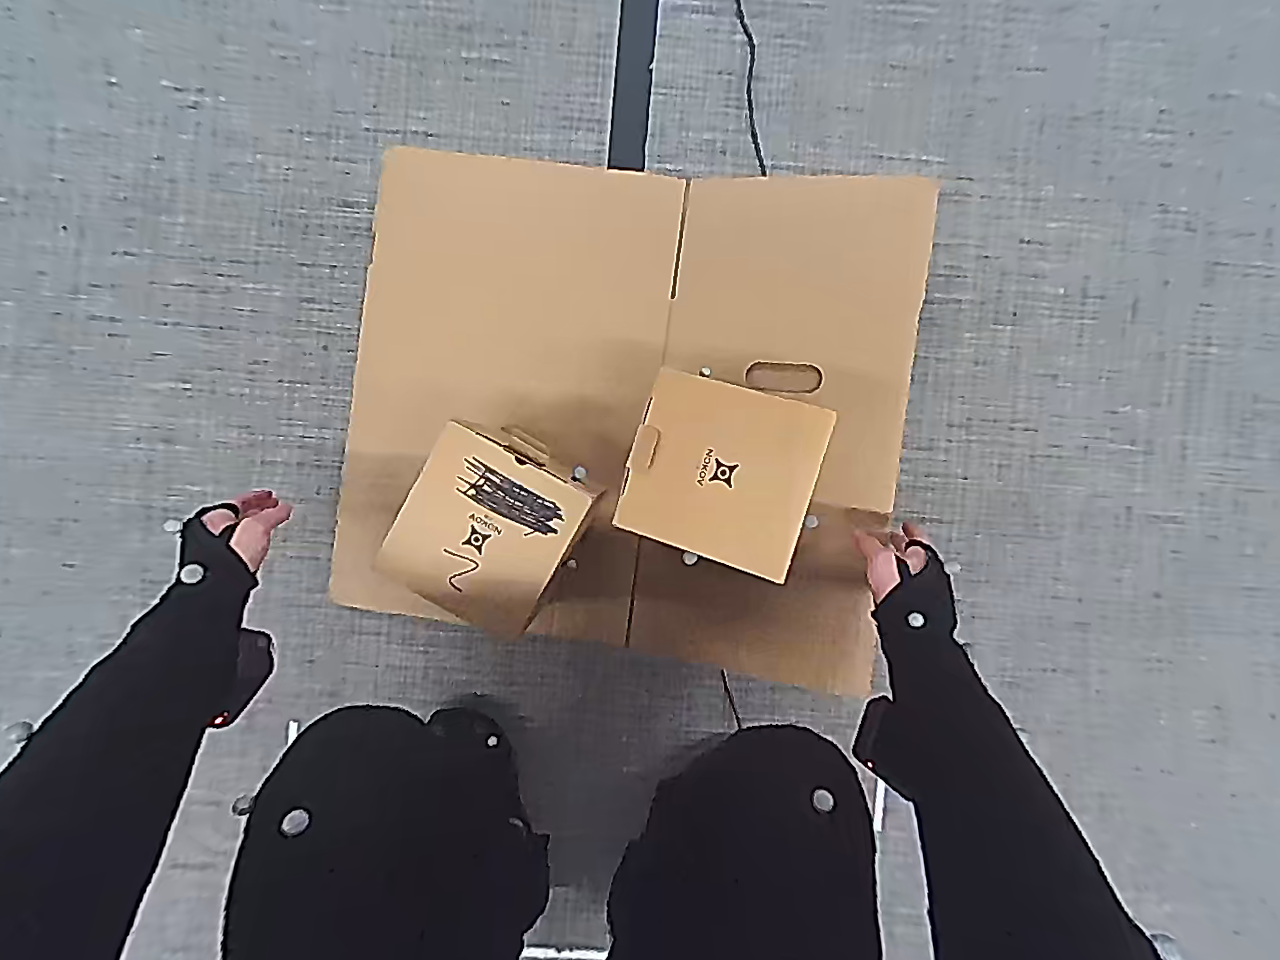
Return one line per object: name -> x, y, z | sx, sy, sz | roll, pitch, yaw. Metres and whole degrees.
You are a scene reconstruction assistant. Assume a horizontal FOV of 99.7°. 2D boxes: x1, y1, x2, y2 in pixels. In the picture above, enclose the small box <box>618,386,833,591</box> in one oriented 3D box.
small box -> 0.101, 0.005, 0.607 | 0.179, 0.176, 0.168 | 18, 95, 16
